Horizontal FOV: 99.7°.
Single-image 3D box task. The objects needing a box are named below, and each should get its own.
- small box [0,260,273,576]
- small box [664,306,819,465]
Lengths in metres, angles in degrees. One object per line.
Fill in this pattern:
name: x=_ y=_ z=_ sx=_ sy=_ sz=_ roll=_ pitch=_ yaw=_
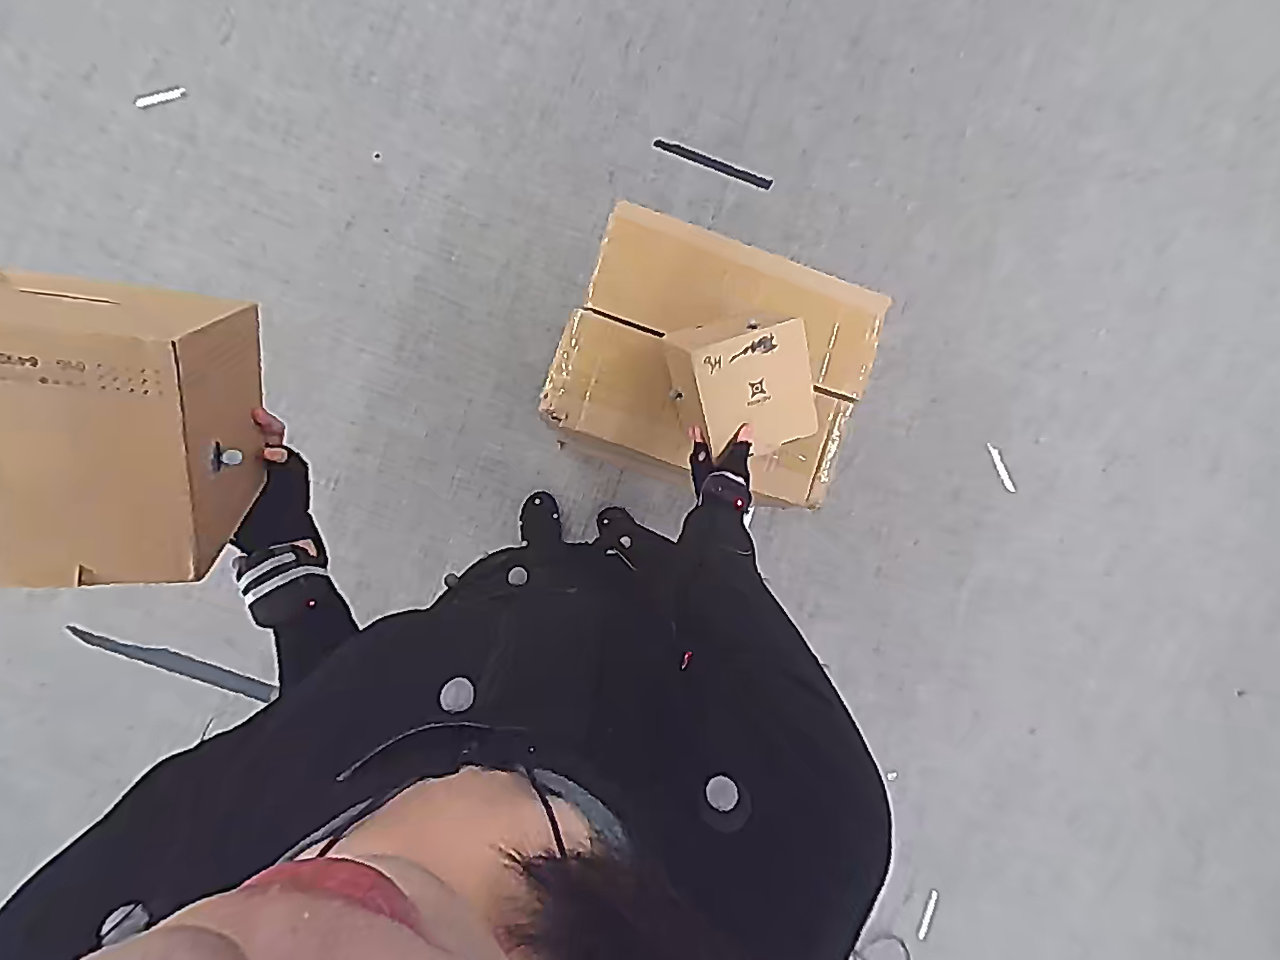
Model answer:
small box: x=-0.378 y=-0.050 z=0.377 sx=0.168 sy=0.179 sz=0.176 roll=4 pitch=113 yaw=-21
small box: x=0.149 y=-0.151 z=0.823 sx=0.168 sy=0.176 sz=0.179 roll=-19 pitch=115 yaw=-4
